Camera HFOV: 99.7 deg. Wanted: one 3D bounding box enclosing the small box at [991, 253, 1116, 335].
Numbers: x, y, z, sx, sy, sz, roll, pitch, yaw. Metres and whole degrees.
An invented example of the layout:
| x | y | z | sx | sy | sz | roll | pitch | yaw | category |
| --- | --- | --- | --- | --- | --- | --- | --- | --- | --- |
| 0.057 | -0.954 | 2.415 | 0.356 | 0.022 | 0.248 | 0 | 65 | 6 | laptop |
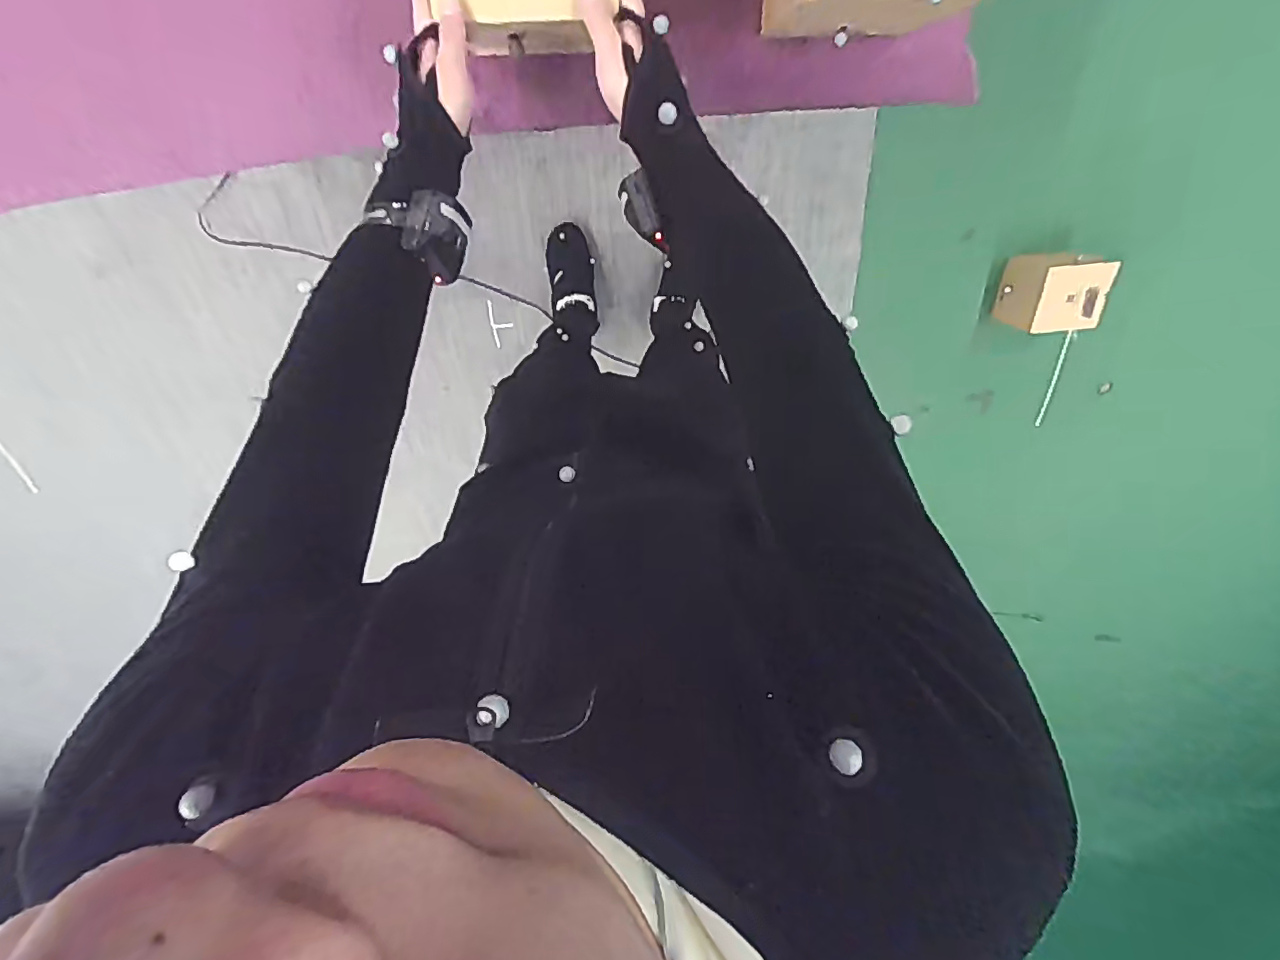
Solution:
| x | y | z | sx | sy | sz | roll | pitch | yaw | category |
| --- | --- | --- | --- | --- | --- | --- | --- | --- | --- |
| 1.077 | -0.493 | 1.424 | 0.179 | 0.176 | 0.168 | -5 | 121 | 1 | small box |

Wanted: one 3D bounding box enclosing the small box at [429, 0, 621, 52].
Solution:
| x | y | z | sx | sy | sz | roll | pitch | yaw | category |
| --- | --- | --- | --- | --- | --- | --- | --- | --- | --- |
| -0.102 | -0.513 | 0.496 | 0.168 | 0.176 | 0.179 | -2 | 120 | -1 | small box |
